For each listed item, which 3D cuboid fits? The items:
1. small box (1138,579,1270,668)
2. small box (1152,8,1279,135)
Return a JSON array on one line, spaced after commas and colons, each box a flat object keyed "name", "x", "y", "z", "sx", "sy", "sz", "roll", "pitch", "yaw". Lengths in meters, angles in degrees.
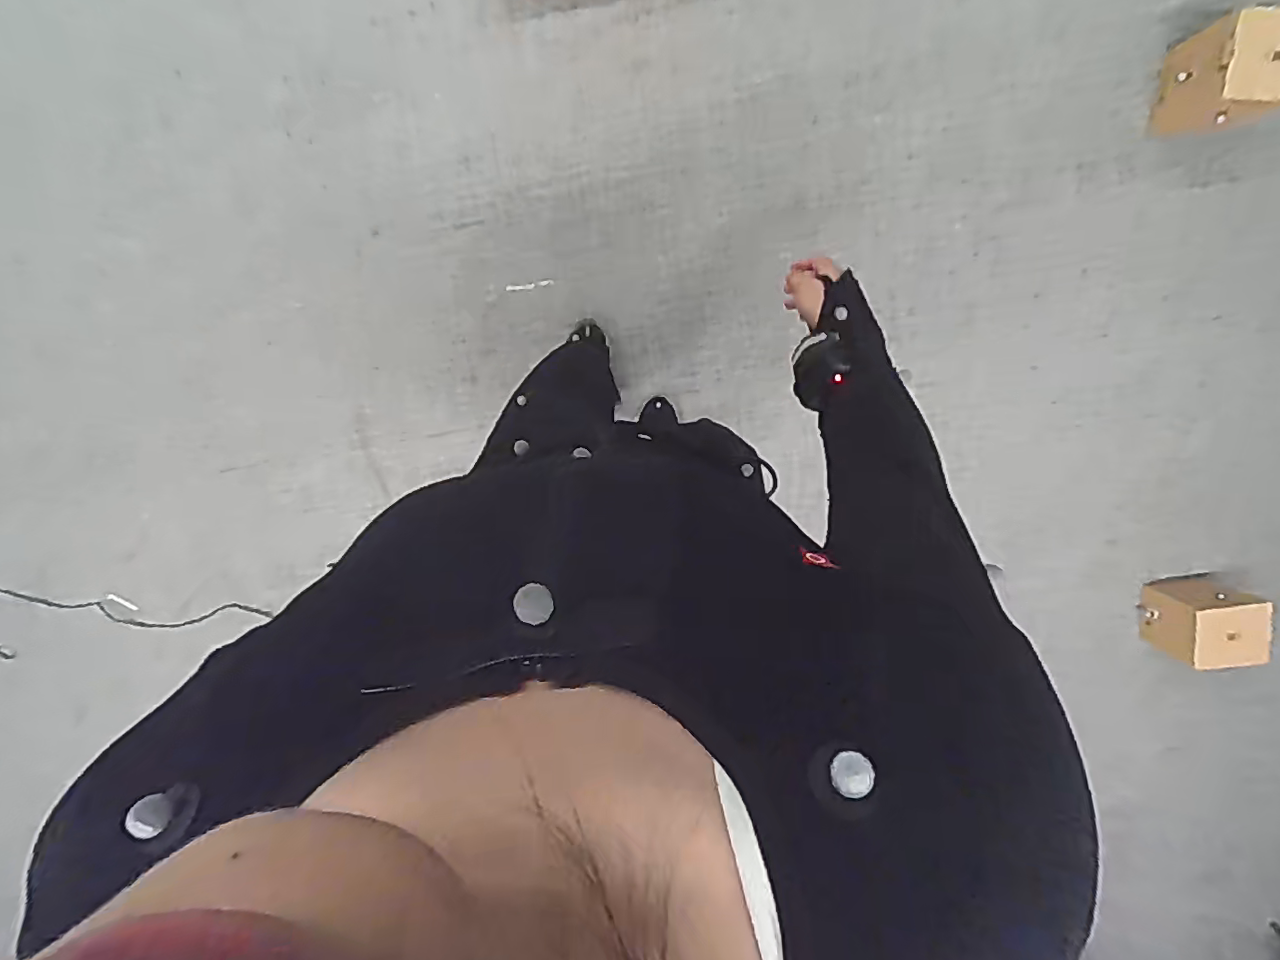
[{"name": "small box", "x": 1.481, "y": 0.372, "z": 1.429, "sx": 0.179, "sy": 0.176, "sz": 0.168, "roll": -9, "pitch": 101, "yaw": 5}, {"name": "small box", "x": 1.269, "y": -0.865, "z": 1.160, "sx": 0.179, "sy": 0.176, "sz": 0.168, "roll": 3, "pitch": 102, "yaw": 2}]
